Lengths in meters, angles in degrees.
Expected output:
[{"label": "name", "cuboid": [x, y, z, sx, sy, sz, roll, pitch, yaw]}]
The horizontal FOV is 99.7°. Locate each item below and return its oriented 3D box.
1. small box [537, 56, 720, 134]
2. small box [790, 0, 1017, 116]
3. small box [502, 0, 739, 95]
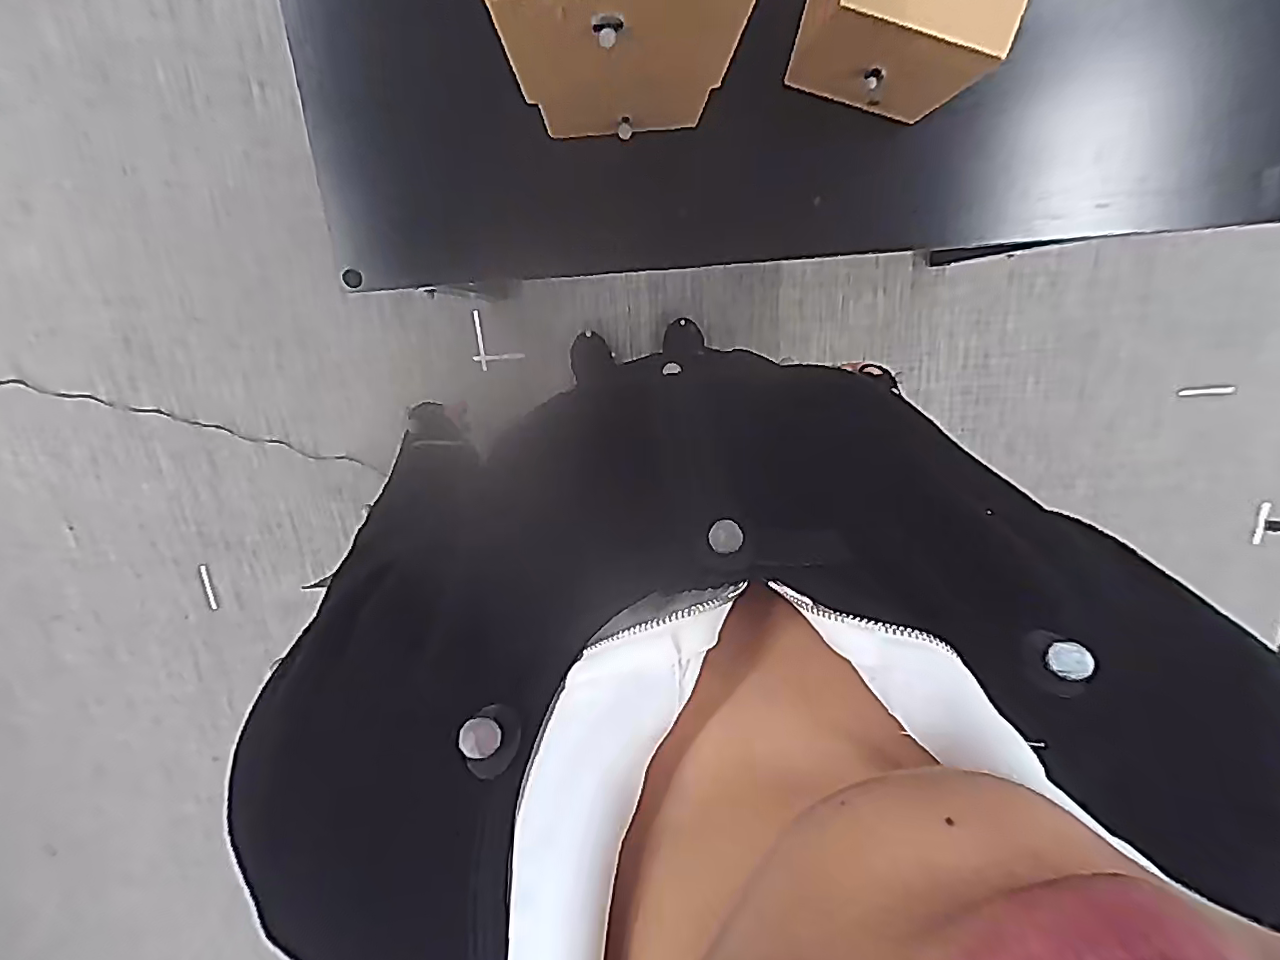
[{"label": "small box", "cuboid": [-0.023, -0.473, 0.548, 0.179, 0.176, 0.168, -6, 106, -2]}, {"label": "small box", "cuboid": [0.270, -0.510, 0.549, 0.168, 0.176, 0.179, 13, 105, -7]}, {"label": "small box", "cuboid": [-0.018, -0.409, 0.395, 0.179, 0.176, 0.168, -5, 106, -1]}]
